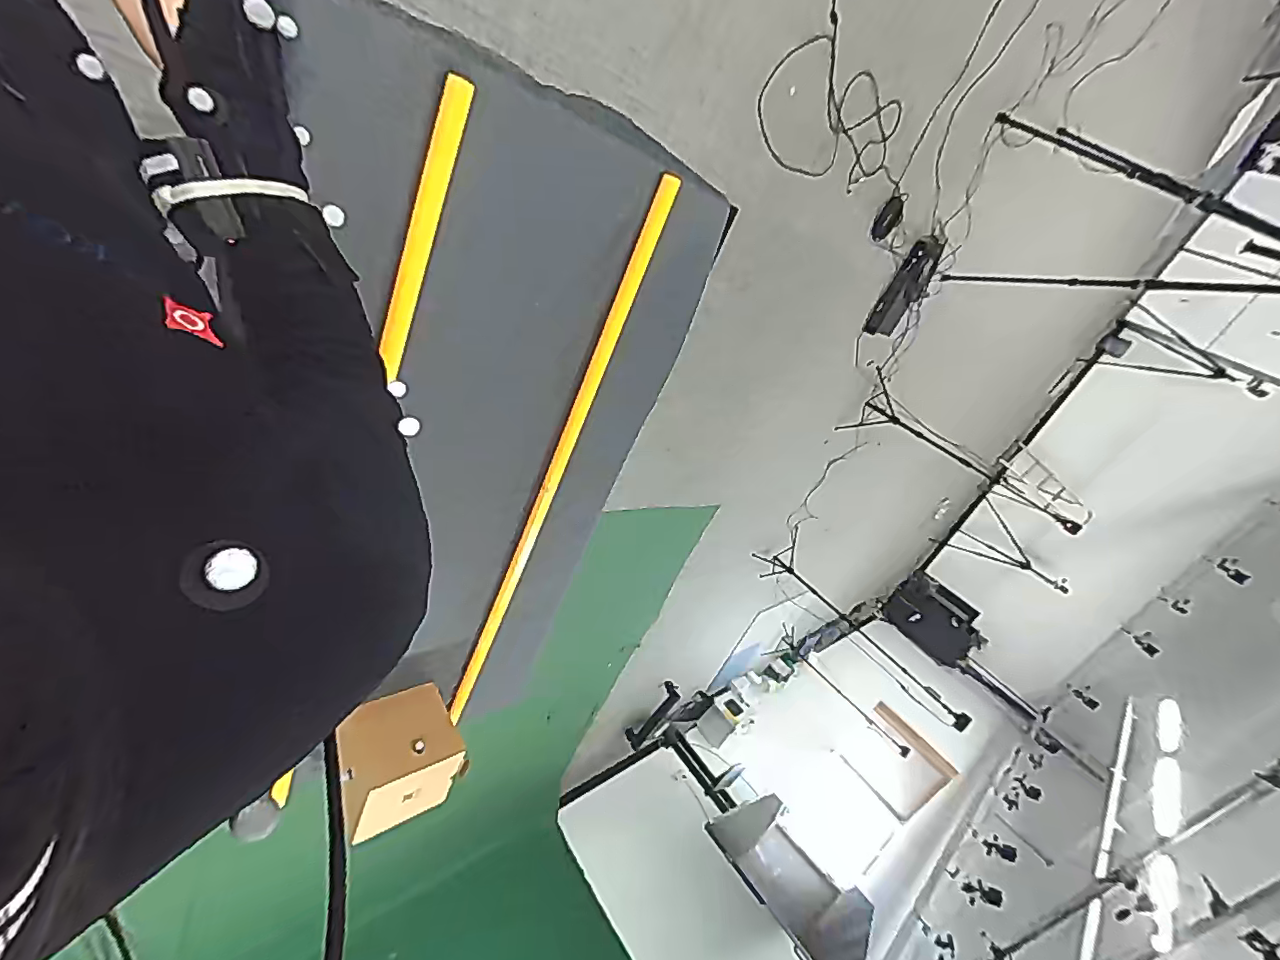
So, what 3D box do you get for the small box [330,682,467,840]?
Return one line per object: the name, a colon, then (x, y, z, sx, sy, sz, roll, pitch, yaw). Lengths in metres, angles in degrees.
small box: (-0.462, 0.518, 1.022, 0.179, 0.176, 0.168, -3, 127, -47)
